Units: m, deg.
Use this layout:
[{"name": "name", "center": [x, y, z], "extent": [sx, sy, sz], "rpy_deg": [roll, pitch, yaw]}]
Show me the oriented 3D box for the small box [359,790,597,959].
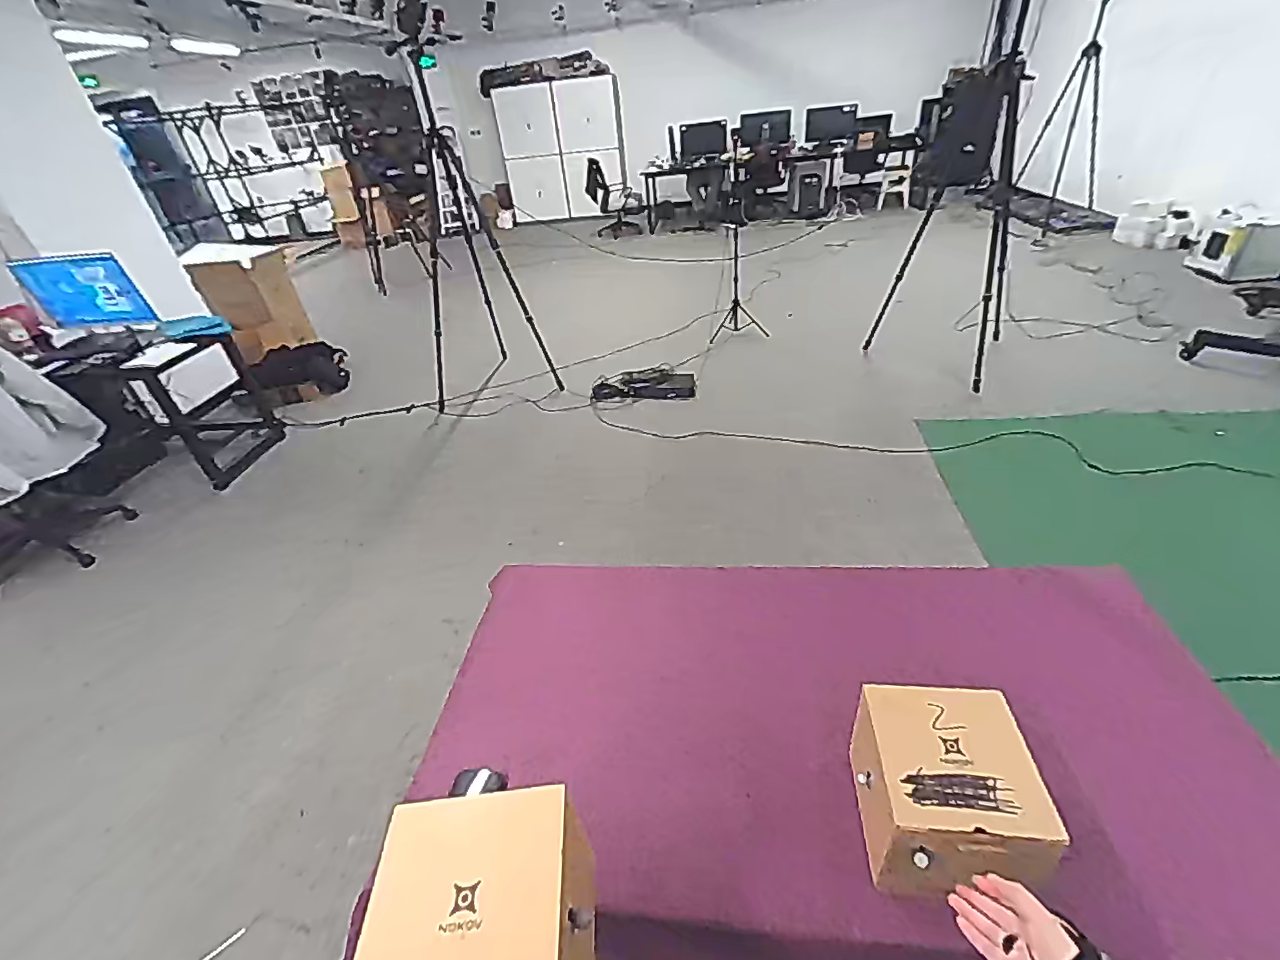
[{"name": "small box", "center": [-0.133, 0.415, 0.489], "extent": [0.168, 0.176, 0.179], "rpy_deg": [-7, 37, 0]}]
